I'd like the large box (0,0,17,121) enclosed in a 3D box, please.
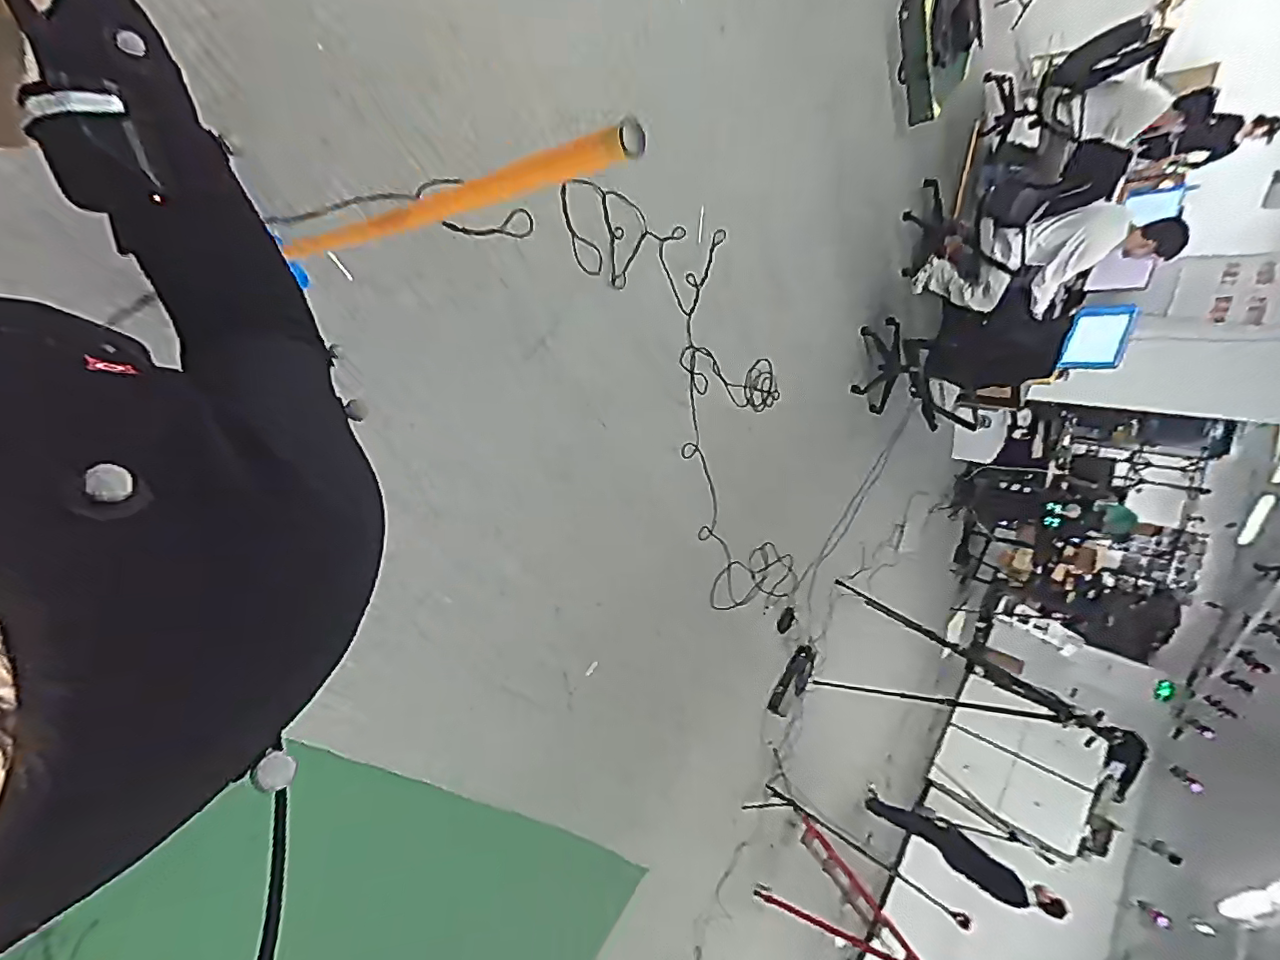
[{"bbox_3d":[-0.625,-0.375,0.224,0.408,0.320,0.320,-30,122,-42],"label":"large box"}]
